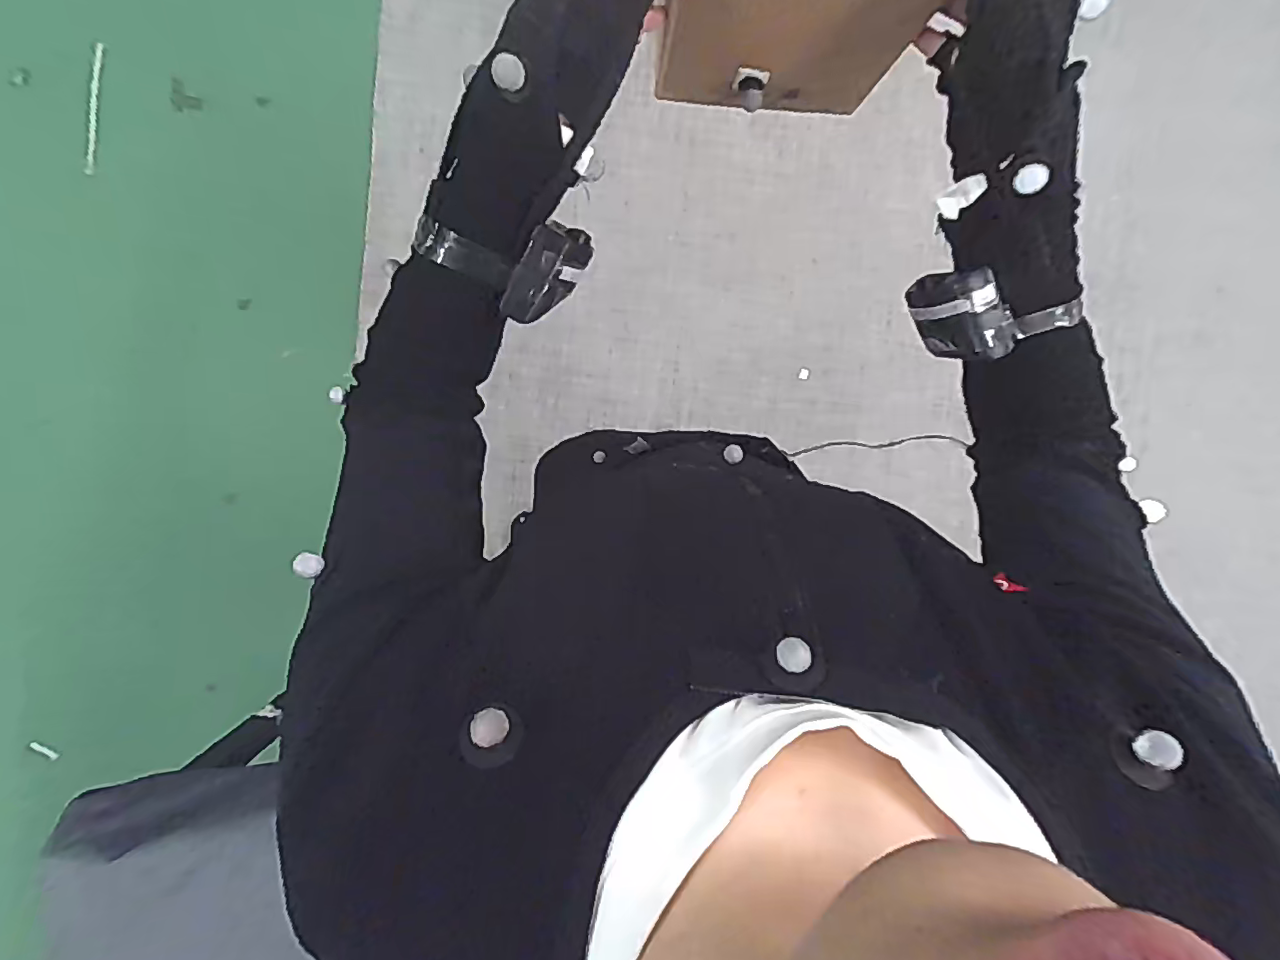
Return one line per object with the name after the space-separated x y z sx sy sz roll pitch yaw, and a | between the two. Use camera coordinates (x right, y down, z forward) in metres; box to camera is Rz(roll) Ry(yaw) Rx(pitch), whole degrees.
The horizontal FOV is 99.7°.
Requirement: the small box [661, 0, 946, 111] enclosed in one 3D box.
0.104 -0.379 0.345 0.168 0.176 0.179 2 98 -3 | small box
